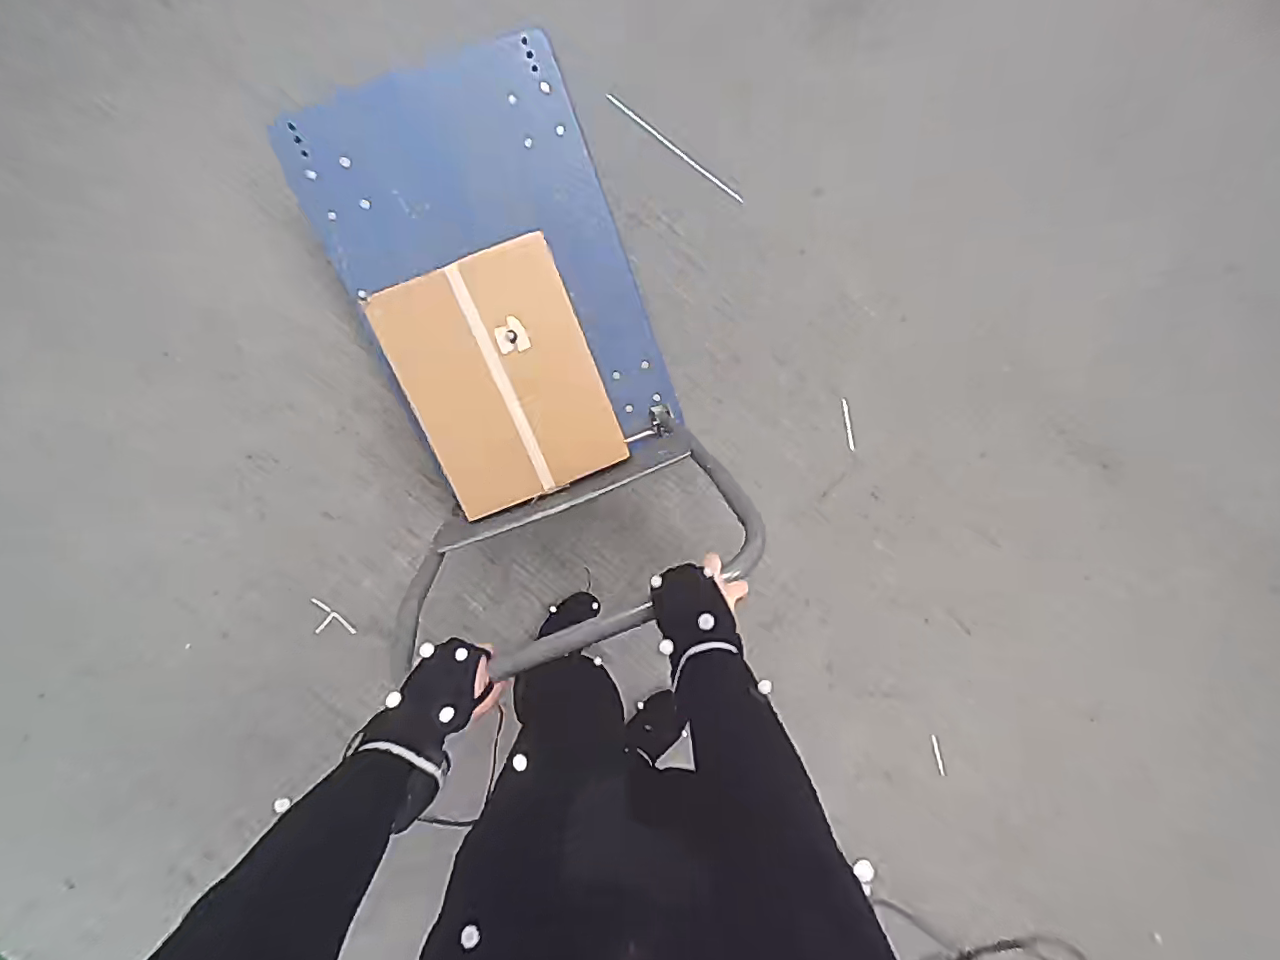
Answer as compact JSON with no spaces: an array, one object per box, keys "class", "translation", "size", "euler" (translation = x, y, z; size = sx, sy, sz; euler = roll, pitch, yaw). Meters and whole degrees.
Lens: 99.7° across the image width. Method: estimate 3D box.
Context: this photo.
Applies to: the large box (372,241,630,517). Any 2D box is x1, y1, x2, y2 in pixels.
[{"class":"large box","translation":[-0.246,-0.195,1.087],"size":[0.320,0.320,0.408],"euler":[-23,104,-2]}]
